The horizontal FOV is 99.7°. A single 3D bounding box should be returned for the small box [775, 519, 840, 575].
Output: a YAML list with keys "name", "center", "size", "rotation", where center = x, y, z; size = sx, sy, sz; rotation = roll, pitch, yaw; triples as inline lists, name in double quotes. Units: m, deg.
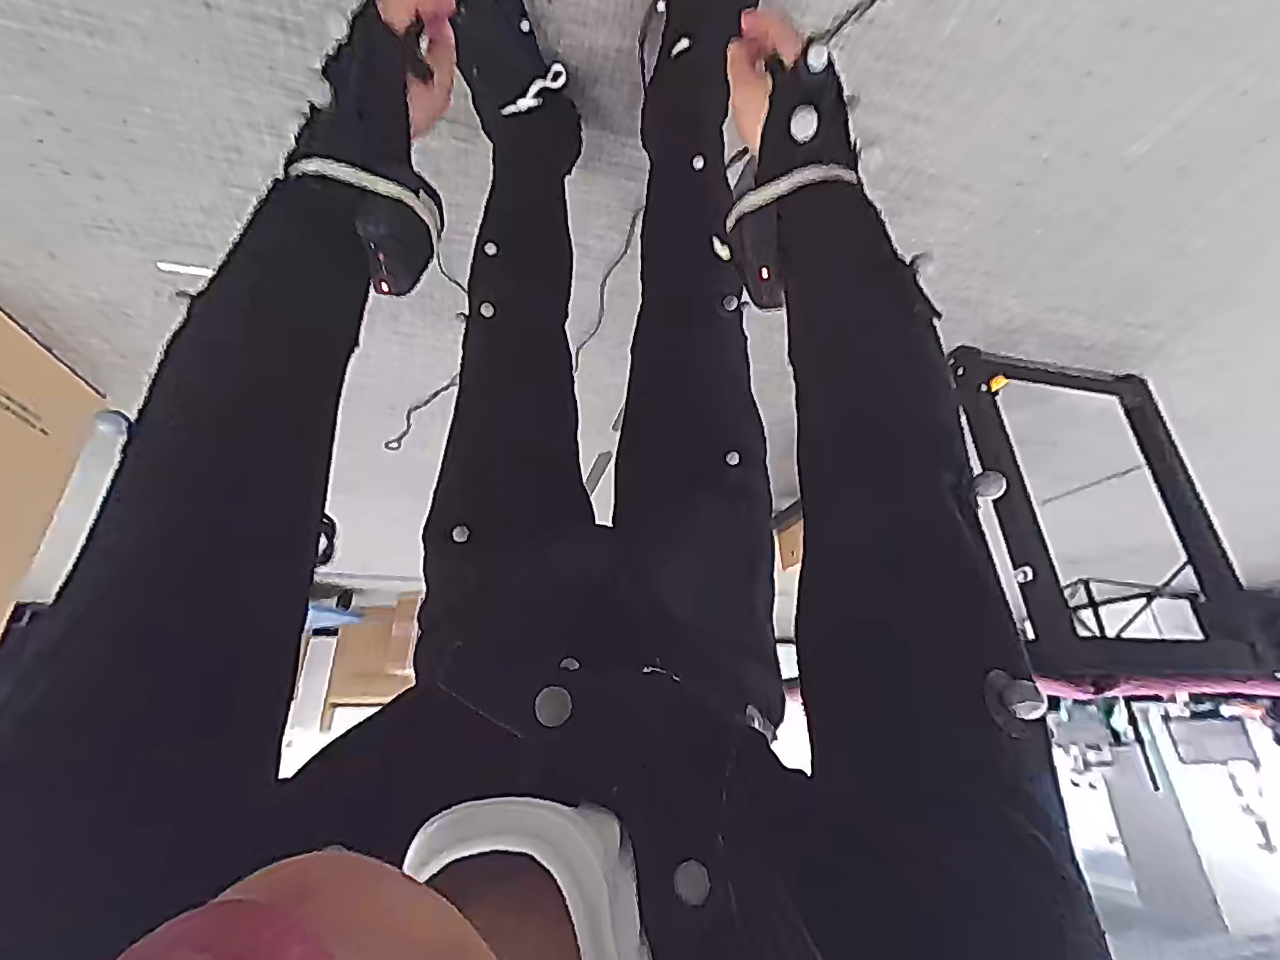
- name: "small box"
  center: [0.629, 0.256, 2.056]
  size: [0.168, 0.176, 0.179]
  rotation: [6, 154, -13]
